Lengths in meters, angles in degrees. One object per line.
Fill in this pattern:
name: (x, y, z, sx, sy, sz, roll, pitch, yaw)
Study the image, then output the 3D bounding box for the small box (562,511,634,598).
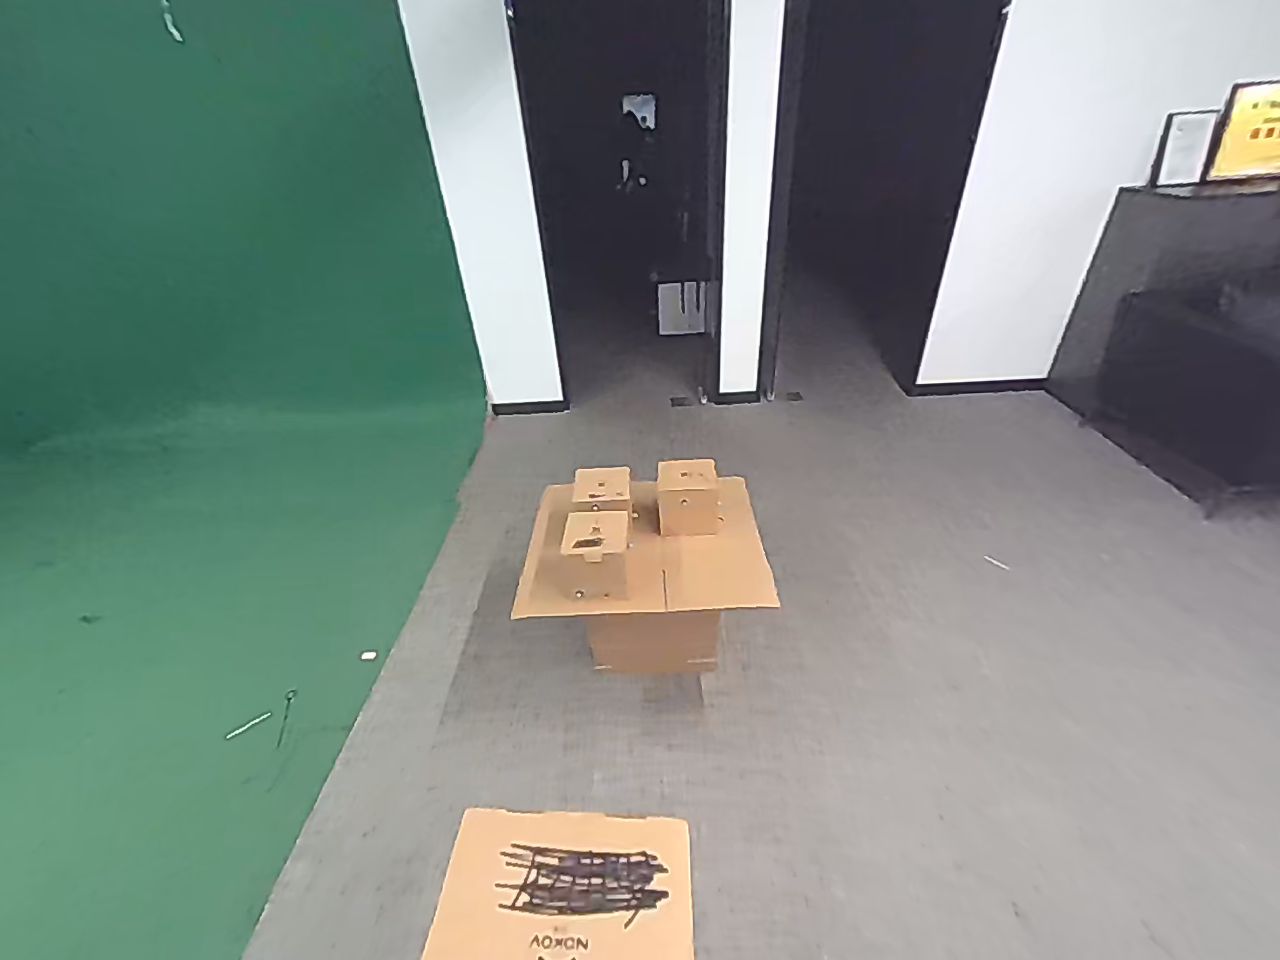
small box: (-0.106, 0.204, 1.456, 0.168, 0.176, 0.179, -2, 33, 3)

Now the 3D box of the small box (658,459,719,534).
small box: (0.150, 0.053, 1.655, 0.179, 0.176, 0.168, -3, 34, 5)

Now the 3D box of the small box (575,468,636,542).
small box: (-0.101, 0.080, 1.641, 0.168, 0.176, 0.179, -4, 32, 1)
